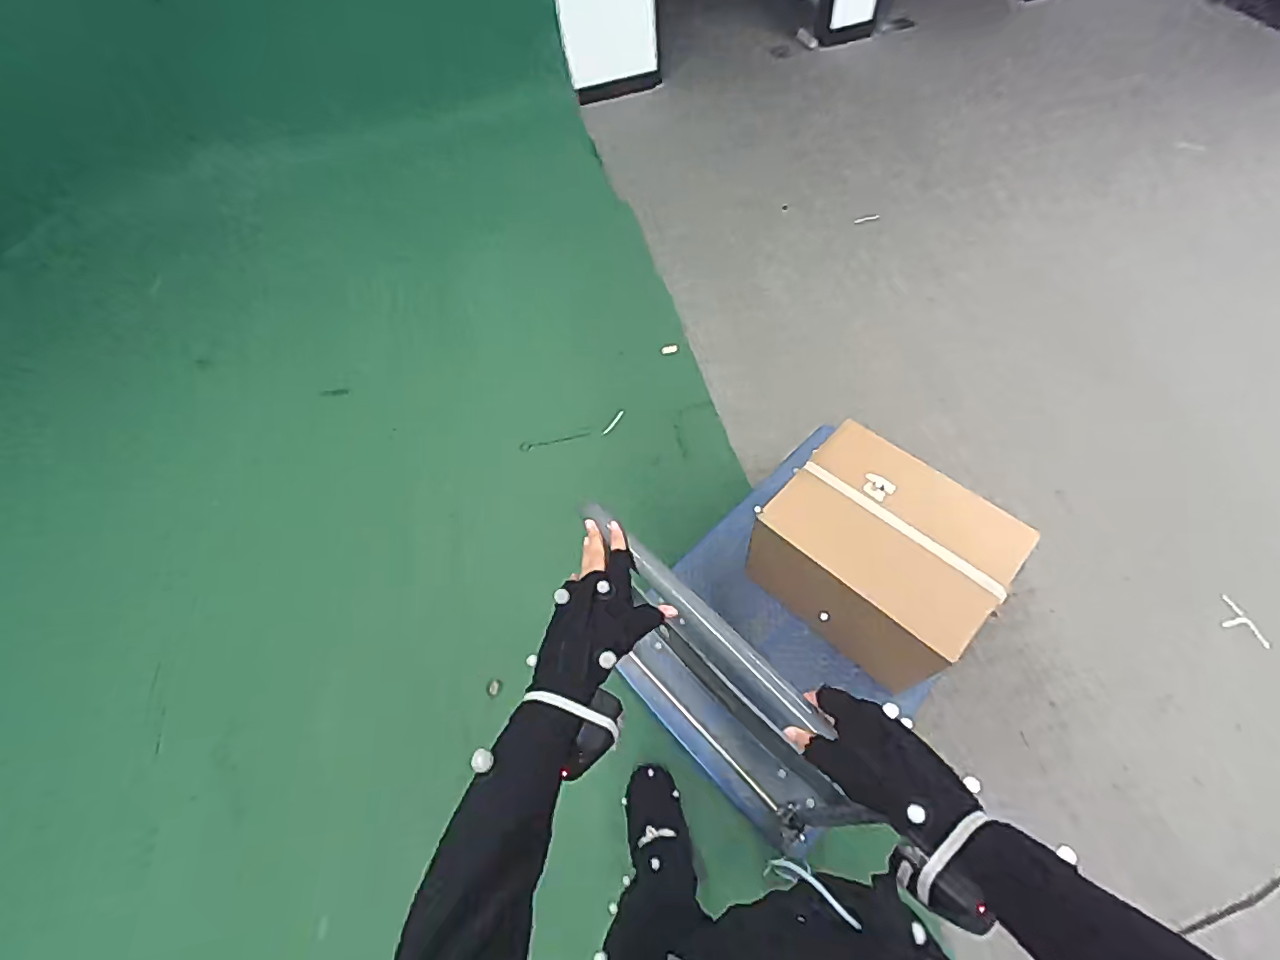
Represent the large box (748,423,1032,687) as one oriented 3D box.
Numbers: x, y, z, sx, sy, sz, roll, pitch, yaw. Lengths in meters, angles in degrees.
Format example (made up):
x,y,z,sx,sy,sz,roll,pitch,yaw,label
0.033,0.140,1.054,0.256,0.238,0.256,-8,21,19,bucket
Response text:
x,y,z,sx,sy,sz,roll,pitch,yaw,label
0.487,0.161,1.142,0.408,0.320,0.320,37,69,25,large box
